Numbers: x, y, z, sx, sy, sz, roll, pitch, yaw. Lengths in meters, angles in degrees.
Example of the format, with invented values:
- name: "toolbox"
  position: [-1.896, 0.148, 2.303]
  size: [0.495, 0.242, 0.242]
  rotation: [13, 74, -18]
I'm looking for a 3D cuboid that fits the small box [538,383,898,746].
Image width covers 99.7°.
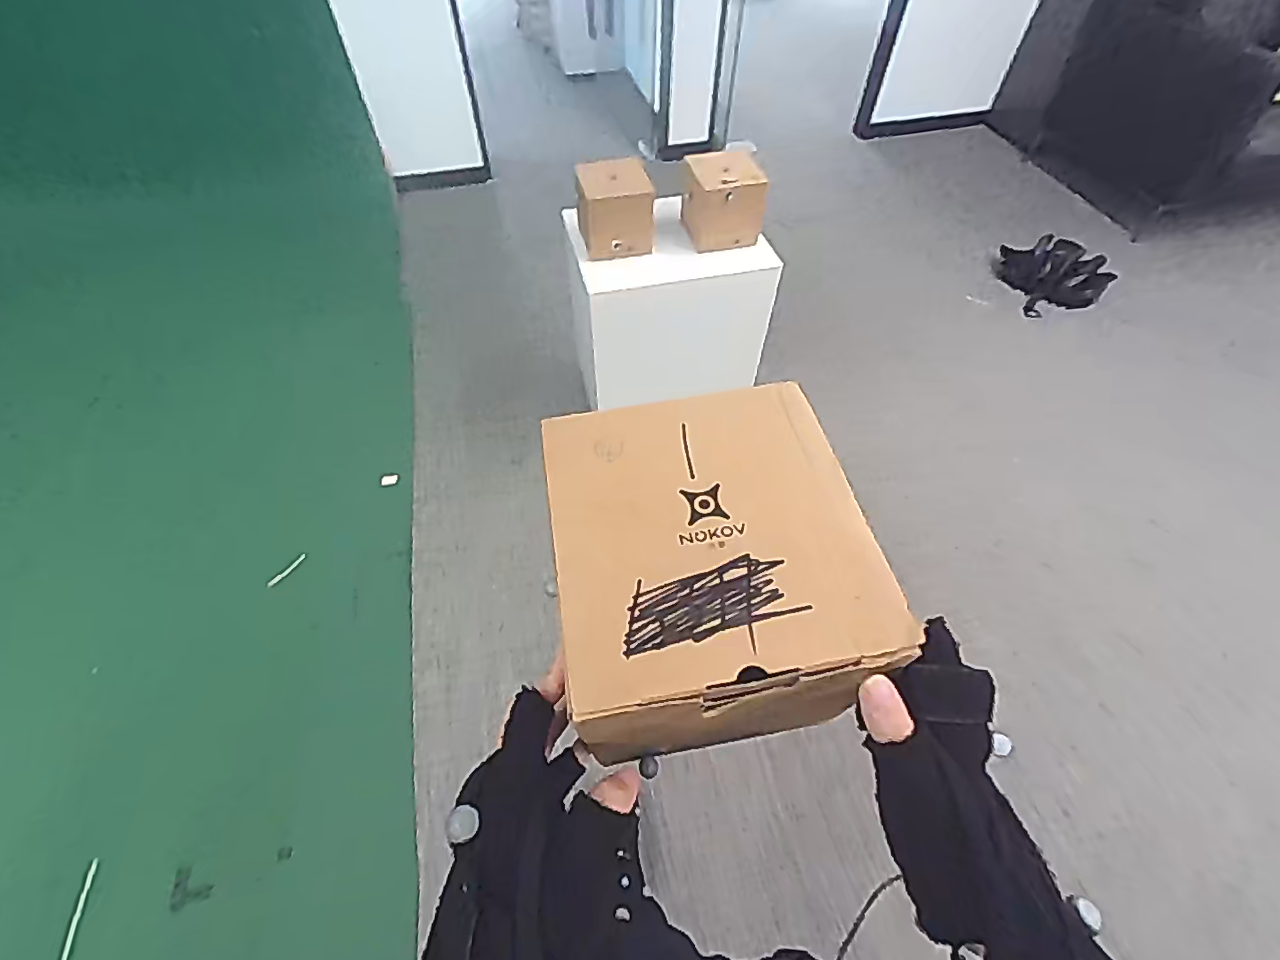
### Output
- name: "small box"
  position: [0.034, 0.066, 0.361]
  size: [0.168, 0.176, 0.179]
  rotation: [-10, 55, -4]

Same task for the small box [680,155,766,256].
- name: "small box"
  position: [0.206, -0.711, 1.403]
  size: [0.168, 0.176, 0.179]
  rotation: [-13, 55, -8]

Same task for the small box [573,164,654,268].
- name: "small box"
  position: [-0.068, -0.670, 1.379]
  size: [0.168, 0.176, 0.179]
  rotation: [-14, 57, -9]
